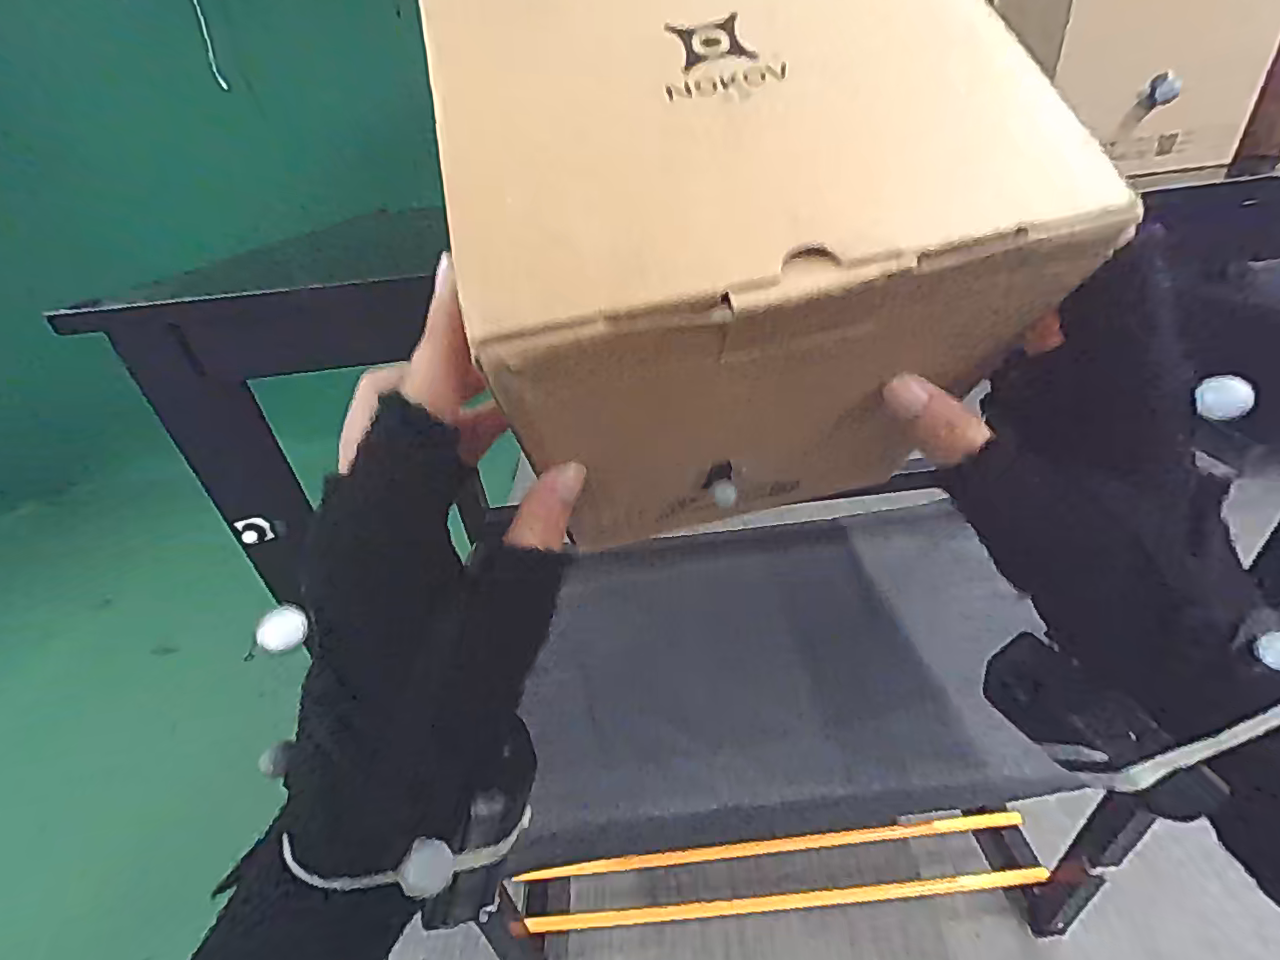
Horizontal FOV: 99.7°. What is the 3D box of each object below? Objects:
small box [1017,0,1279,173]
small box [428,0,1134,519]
[{"bbox_3d":[0.373,-0.357,0.456,0.168,0.176,0.179,-7,32,0],"label":"small box"},{"bbox_3d":[0.023,-0.103,0.230,0.168,0.176,0.179,-13,68,-3],"label":"small box"}]
